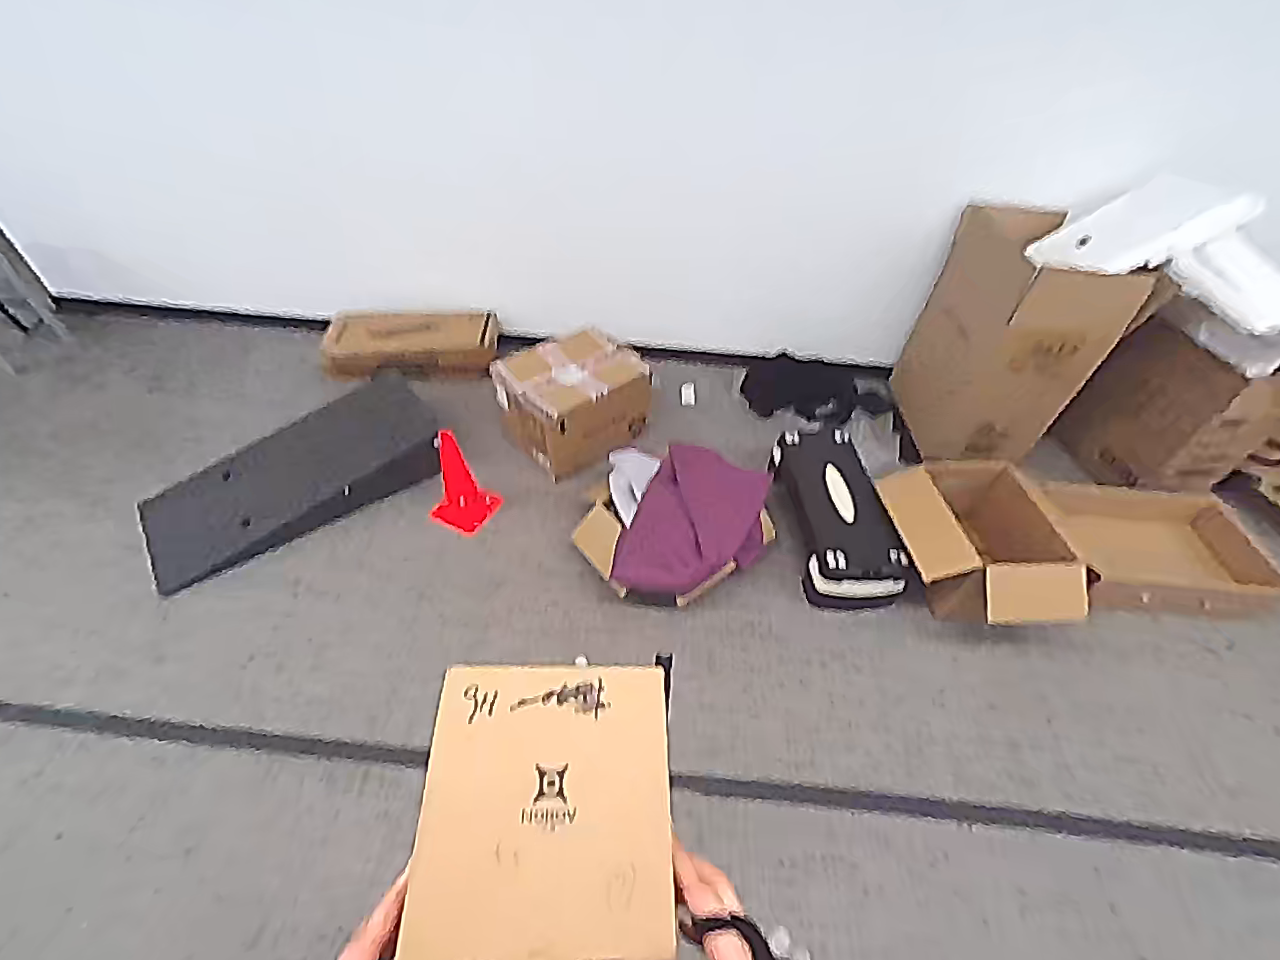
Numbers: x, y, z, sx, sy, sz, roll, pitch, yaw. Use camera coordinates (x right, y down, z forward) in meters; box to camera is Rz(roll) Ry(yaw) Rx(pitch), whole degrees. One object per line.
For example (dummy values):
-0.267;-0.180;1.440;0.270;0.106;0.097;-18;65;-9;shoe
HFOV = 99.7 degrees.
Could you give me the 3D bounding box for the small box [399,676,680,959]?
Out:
-0.063;0.260;0.417;0.168;0.176;0.179;1;56;-4;small box
